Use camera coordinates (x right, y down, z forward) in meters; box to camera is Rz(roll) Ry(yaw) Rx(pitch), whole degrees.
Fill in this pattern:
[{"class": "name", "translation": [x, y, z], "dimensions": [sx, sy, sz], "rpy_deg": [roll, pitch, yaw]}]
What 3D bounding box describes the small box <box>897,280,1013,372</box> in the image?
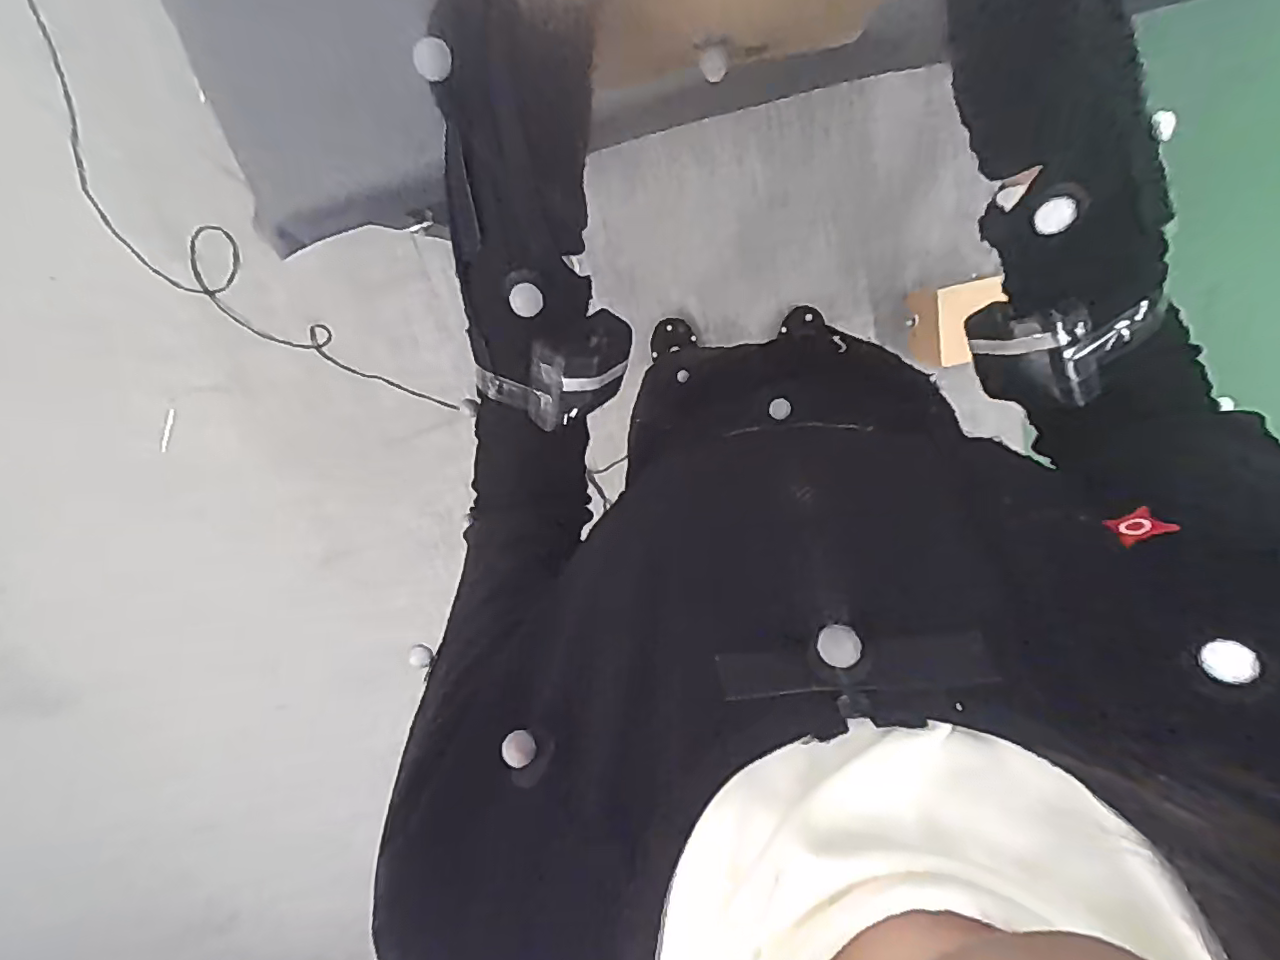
[{"class": "small box", "translation": [0.704, -0.350, 1.219], "dimensions": [0.179, 0.176, 0.168], "rpy_deg": [-10, 107, 8]}]
